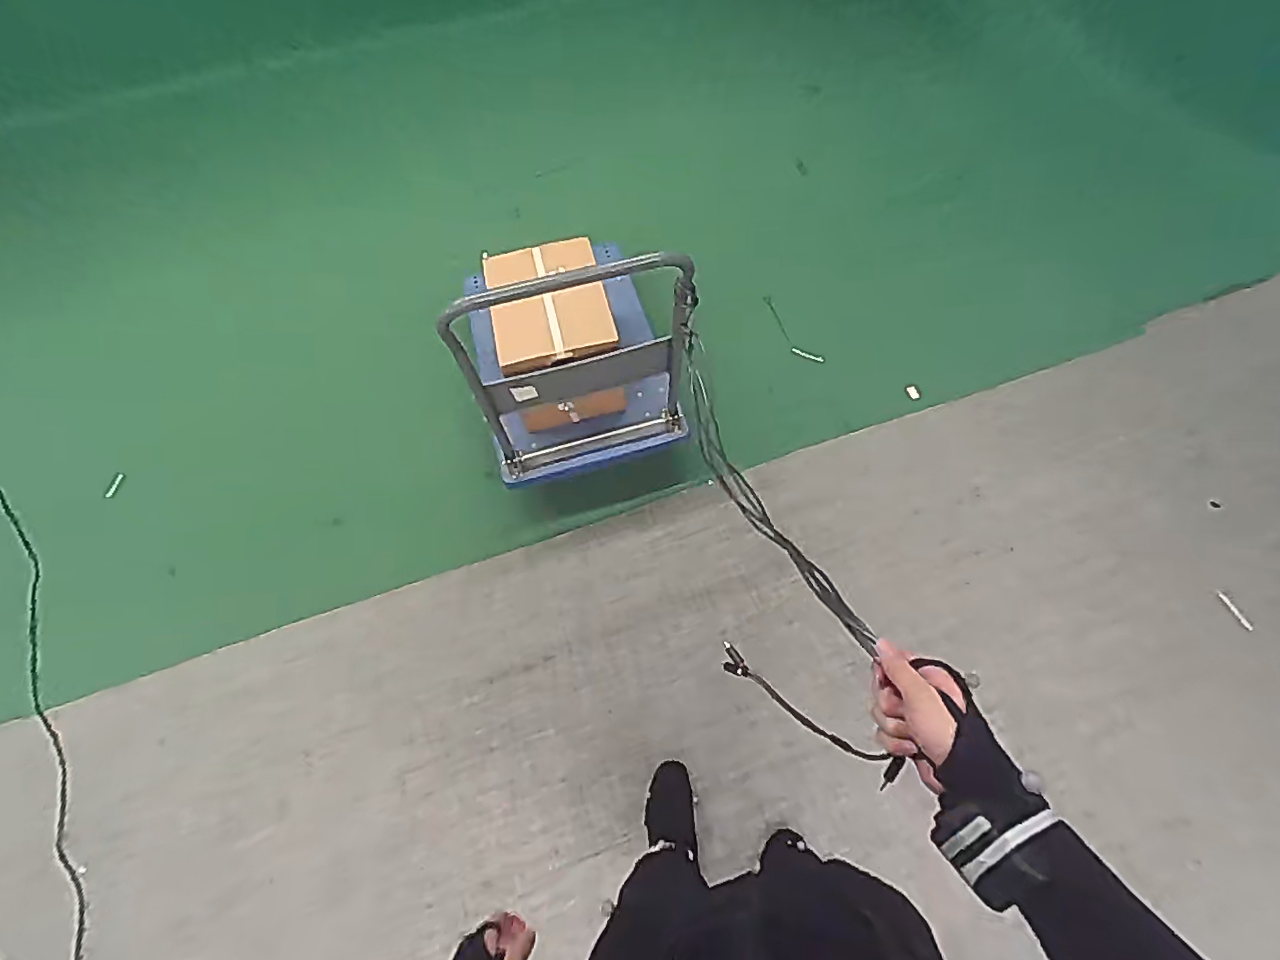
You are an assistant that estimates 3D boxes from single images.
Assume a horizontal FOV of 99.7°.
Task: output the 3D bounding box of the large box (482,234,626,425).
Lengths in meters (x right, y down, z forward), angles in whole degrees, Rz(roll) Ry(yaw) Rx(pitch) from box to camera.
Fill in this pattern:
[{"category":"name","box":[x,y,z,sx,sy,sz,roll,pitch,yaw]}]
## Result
[{"category":"large box","box":[-0.243,-0.431,1.577,0.320,0.320,0.408,-13,63,-5]}]
